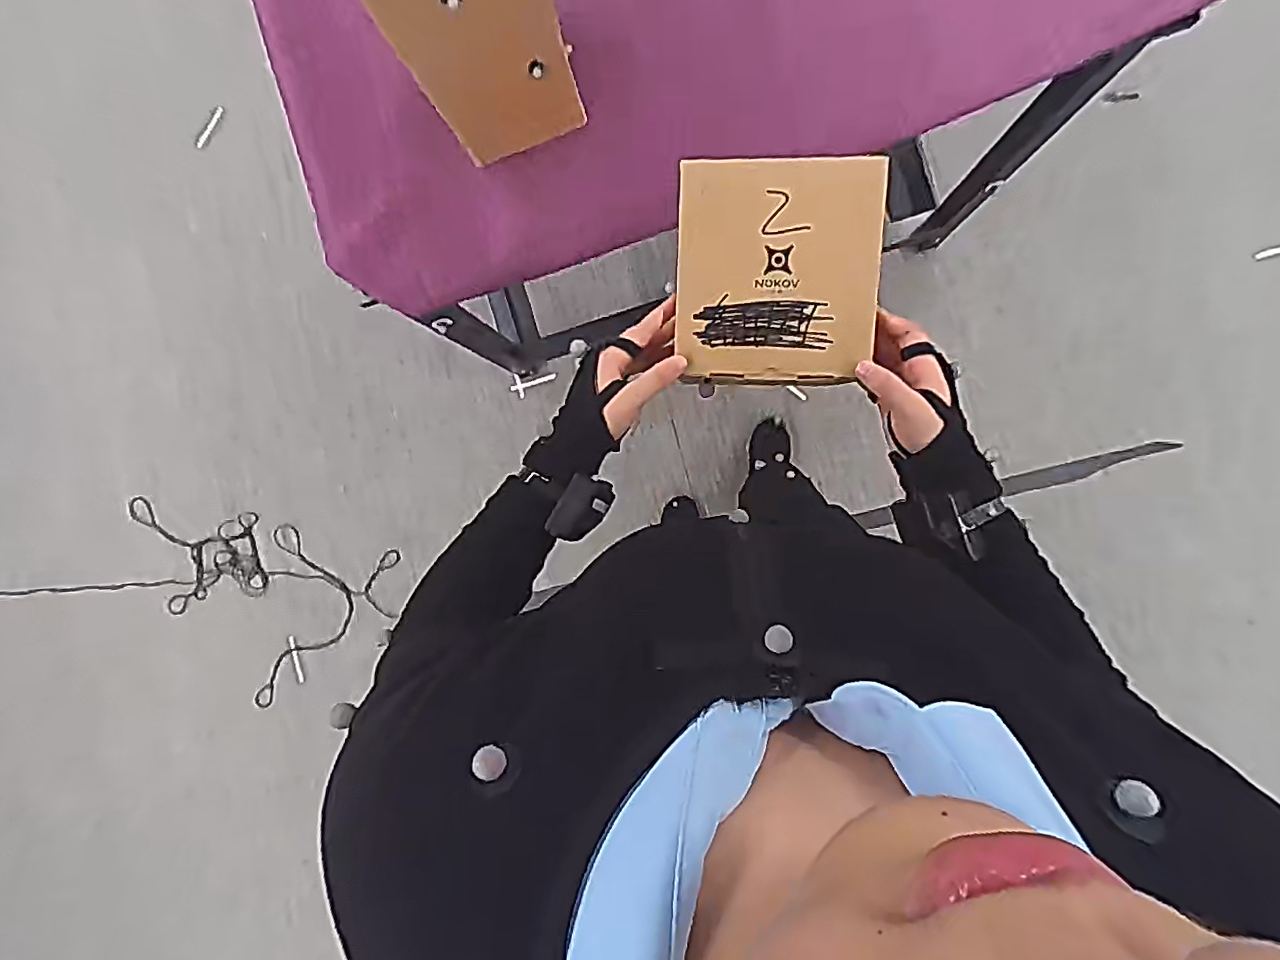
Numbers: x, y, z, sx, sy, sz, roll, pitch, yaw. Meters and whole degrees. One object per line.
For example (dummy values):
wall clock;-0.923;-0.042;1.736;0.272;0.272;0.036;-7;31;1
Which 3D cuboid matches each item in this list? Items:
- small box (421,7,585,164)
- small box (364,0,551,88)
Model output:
small box;-0.190;-0.560;0.712;0.179;0.176;0.168;-19;89;5
small box;-0.202;-0.556;0.548;0.179;0.176;0.168;-19;88;5
